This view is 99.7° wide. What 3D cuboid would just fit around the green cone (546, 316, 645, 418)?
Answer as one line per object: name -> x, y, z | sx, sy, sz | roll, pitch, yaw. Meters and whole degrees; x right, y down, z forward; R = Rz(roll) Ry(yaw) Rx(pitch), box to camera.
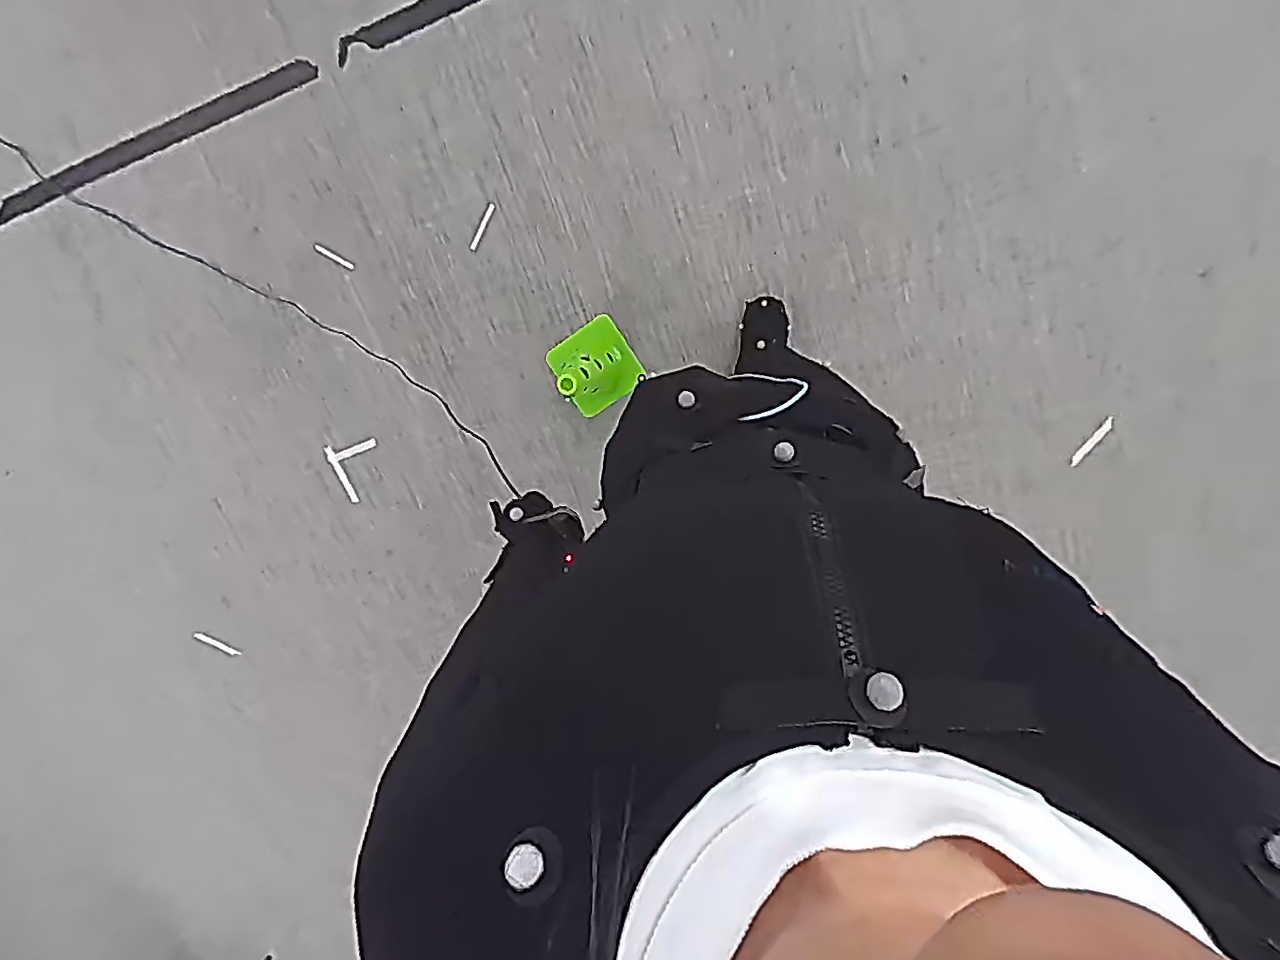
green cone -> -0.134, -0.236, 1.216 | 0.202, 0.368, 0.200 | -32, 100, 15
